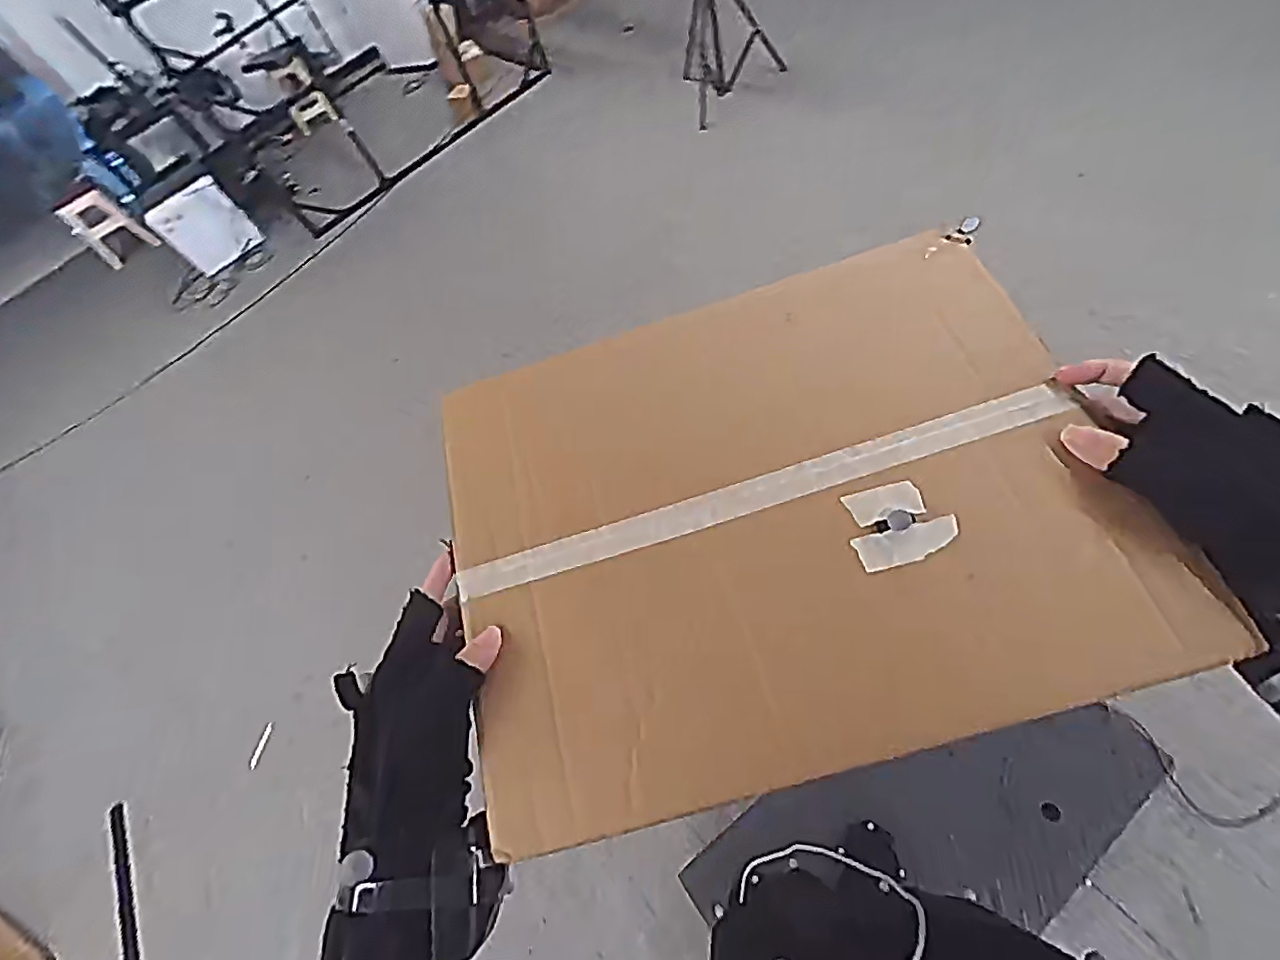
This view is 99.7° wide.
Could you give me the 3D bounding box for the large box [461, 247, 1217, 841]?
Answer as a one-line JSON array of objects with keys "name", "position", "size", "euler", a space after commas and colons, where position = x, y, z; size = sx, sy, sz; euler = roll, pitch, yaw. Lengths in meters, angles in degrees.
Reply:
[{"name": "large box", "position": [0.106, 0.072, 0.491], "size": [0.408, 0.320, 0.320], "euler": [-17, 65, 3]}]
